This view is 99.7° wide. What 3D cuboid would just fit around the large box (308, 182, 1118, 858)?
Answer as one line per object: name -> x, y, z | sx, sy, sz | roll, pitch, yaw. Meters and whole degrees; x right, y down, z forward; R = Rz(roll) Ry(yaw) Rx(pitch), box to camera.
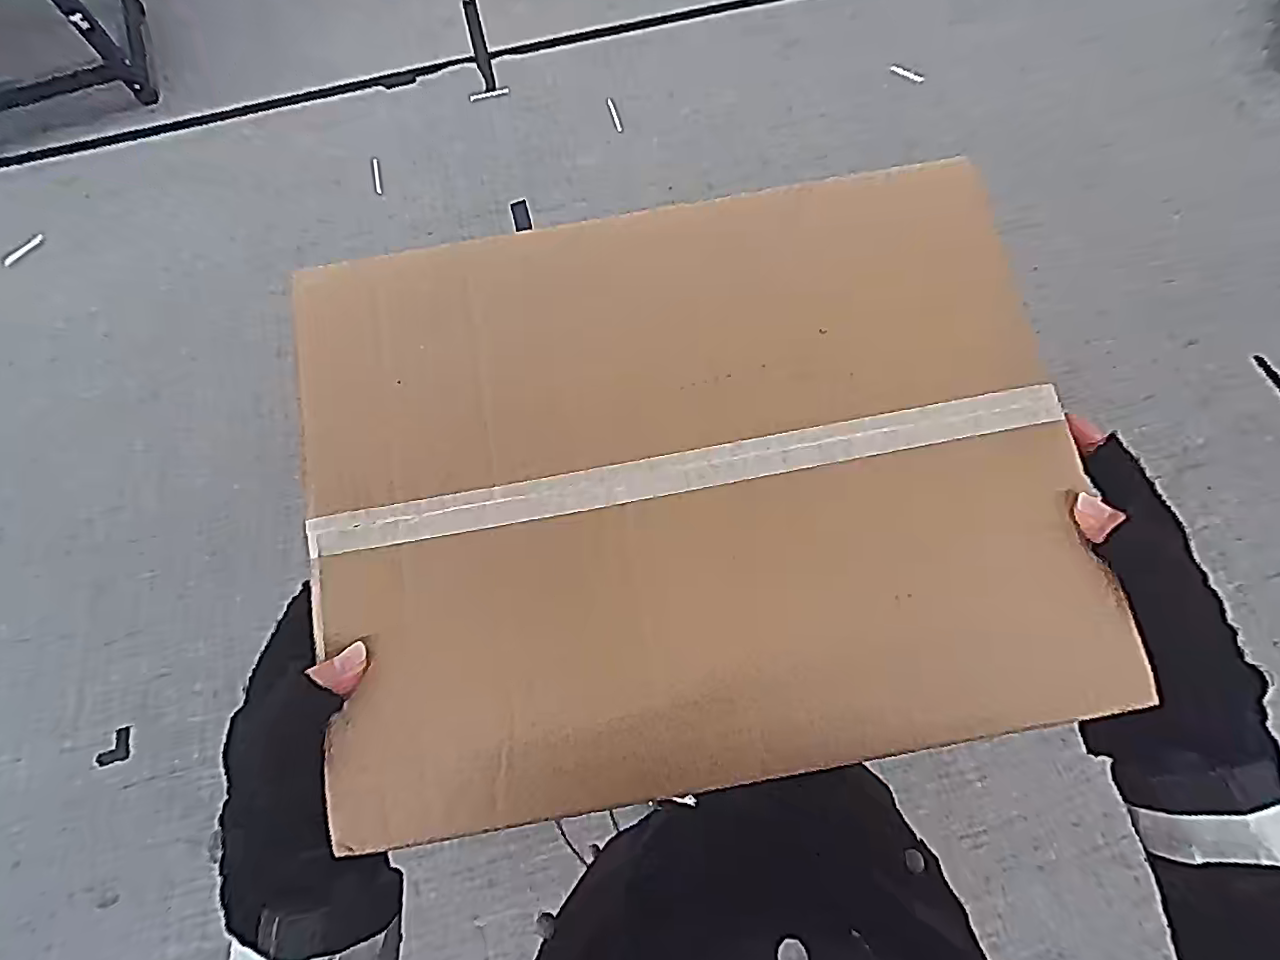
large box -> 0.029, 0.029, 0.445 | 0.408, 0.320, 0.320 | -11, 79, -1
